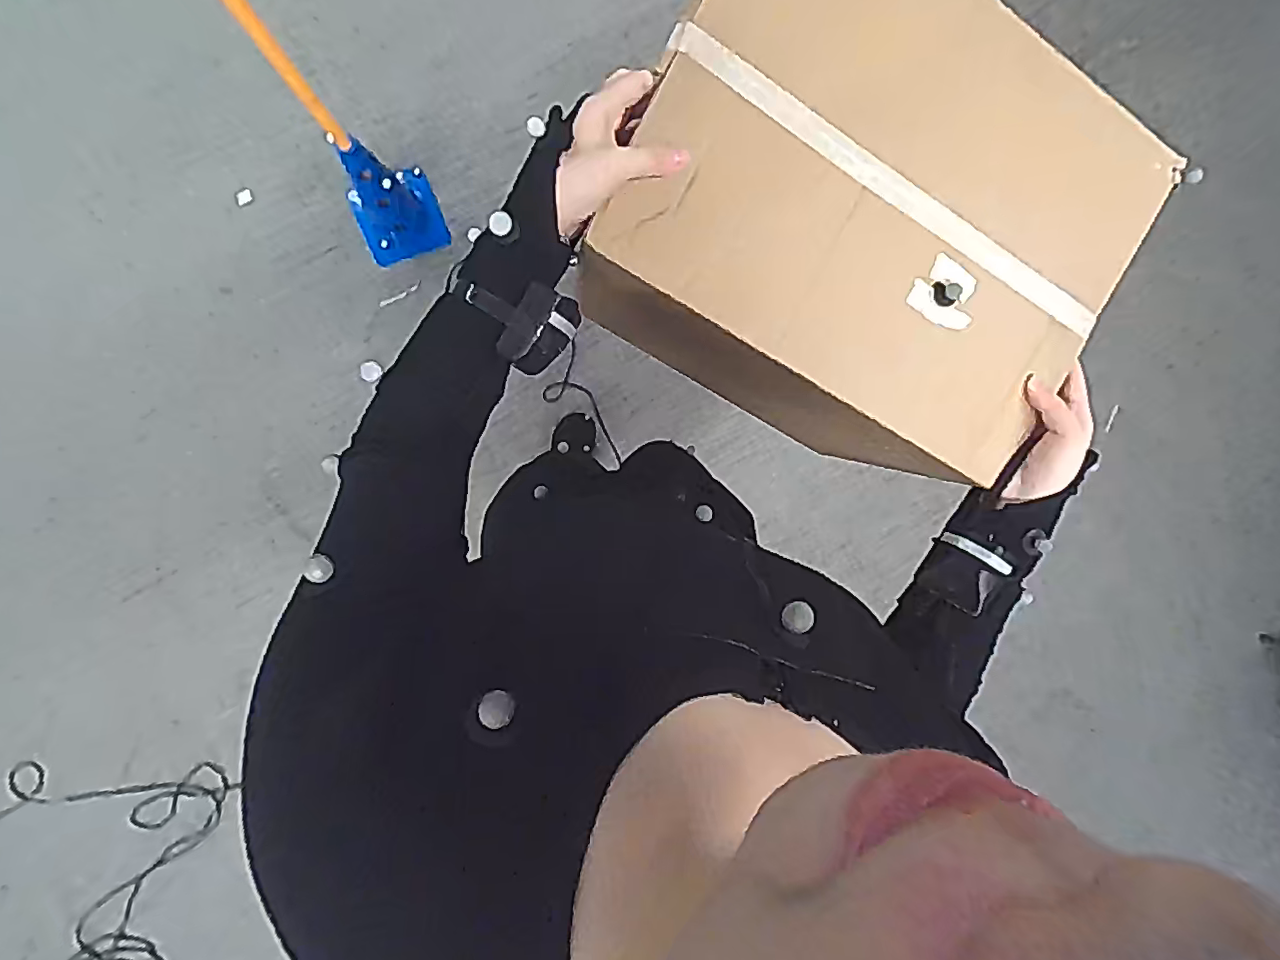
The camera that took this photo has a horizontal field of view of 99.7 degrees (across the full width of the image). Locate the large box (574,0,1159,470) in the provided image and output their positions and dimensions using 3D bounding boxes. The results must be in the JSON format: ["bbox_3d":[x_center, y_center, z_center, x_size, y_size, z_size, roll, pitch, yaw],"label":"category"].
[{"bbox_3d":[0.179,-0.249,0.573,0.408,0.320,0.320,28,94,-13],"label":"large box"}]

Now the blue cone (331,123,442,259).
[{"bbox_3d":[-0.587,-0.654,1.196,0.193,0.380,0.192,-21,96,-6],"label":"blue cone"}]
